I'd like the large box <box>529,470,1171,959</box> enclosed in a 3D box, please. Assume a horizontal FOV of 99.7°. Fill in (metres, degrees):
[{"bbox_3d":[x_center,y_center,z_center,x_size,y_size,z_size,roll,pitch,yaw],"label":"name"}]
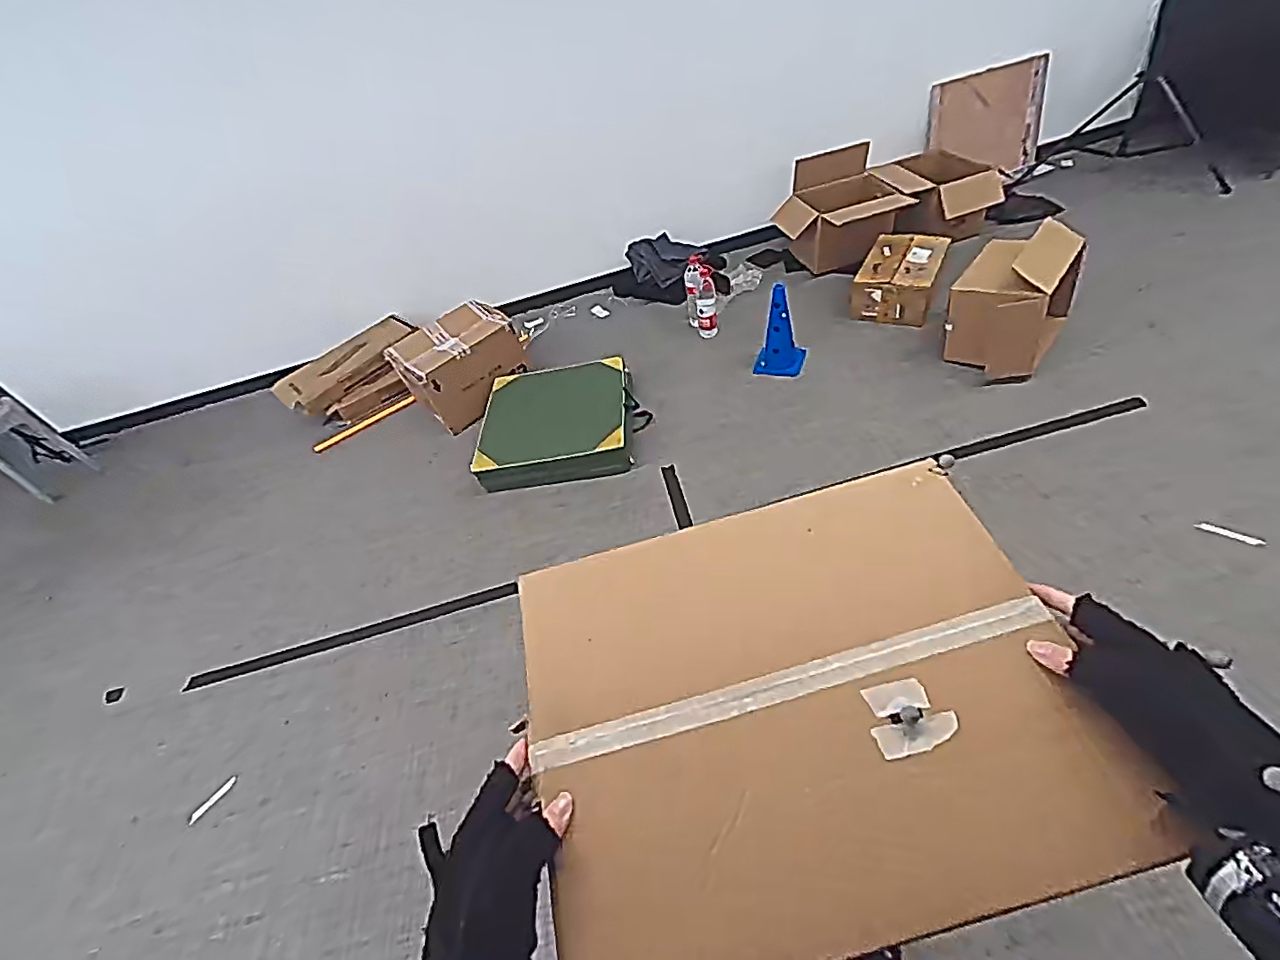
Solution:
[{"bbox_3d":[0.140,0.249,0.548,0.408,0.320,0.320,-16,53,-1],"label":"large box"}]
